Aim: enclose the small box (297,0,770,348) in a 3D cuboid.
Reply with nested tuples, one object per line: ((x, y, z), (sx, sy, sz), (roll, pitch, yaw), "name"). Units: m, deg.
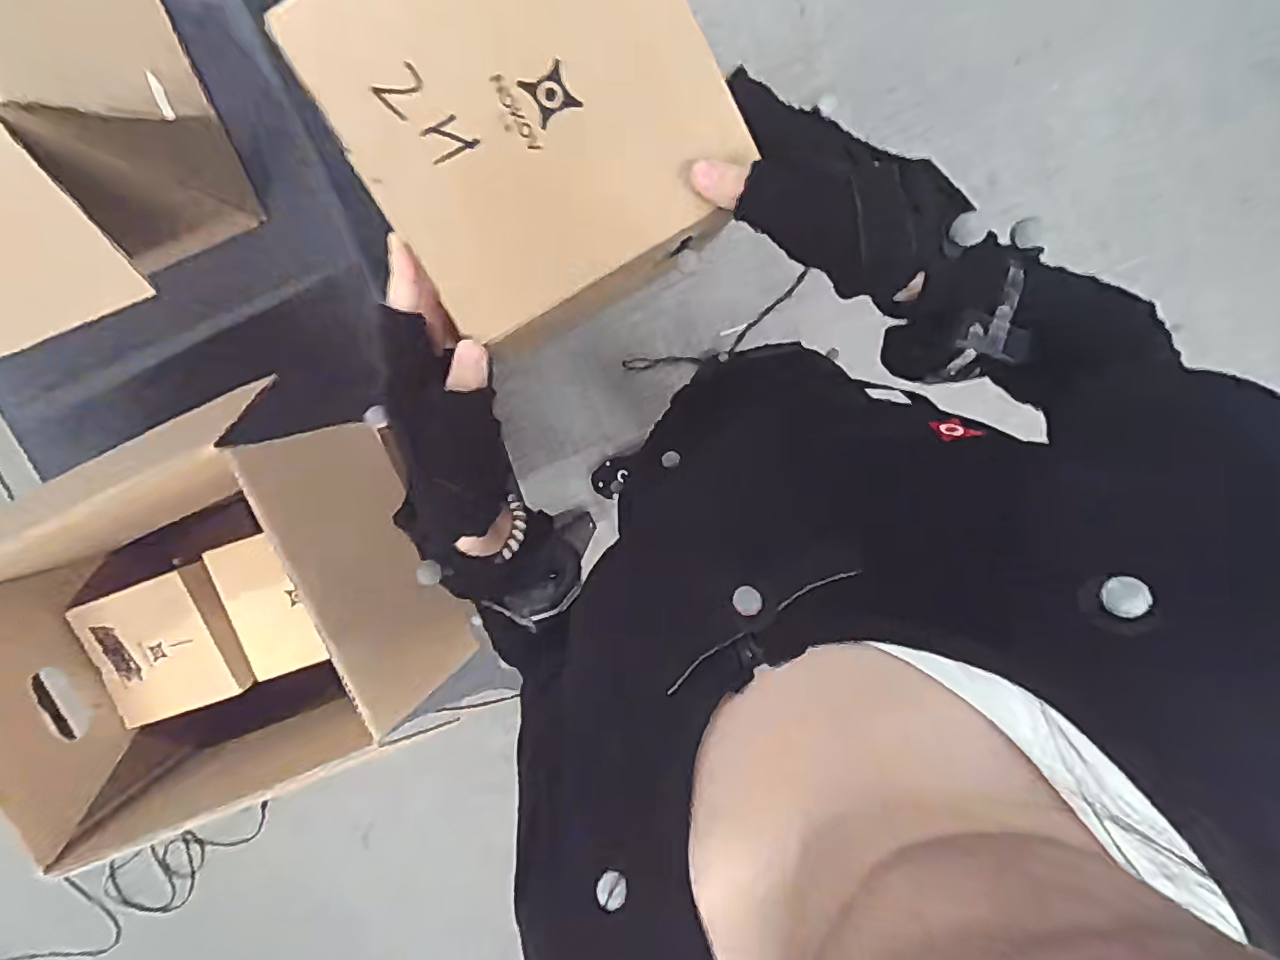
((-0.054, -0.199, 0.339), (0.179, 0.176, 0.168), (-30, 101, -2), "small box")
